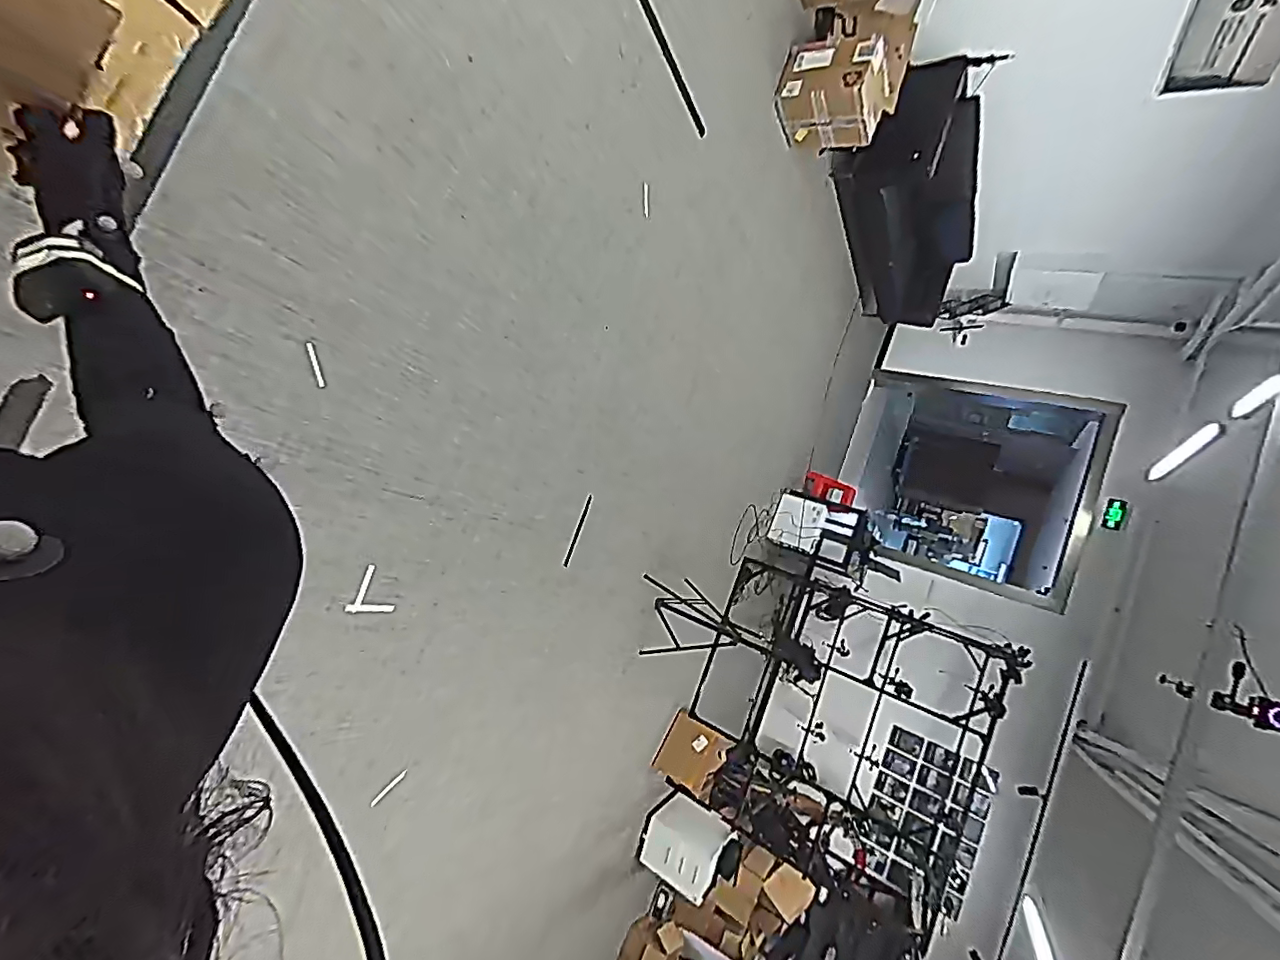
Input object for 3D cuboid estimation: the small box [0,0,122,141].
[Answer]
[{"bbox_3d":[-0.557,-0.433,0.426,0.179,0.168,0.176,15,49,-59],"label":"small box"}]
